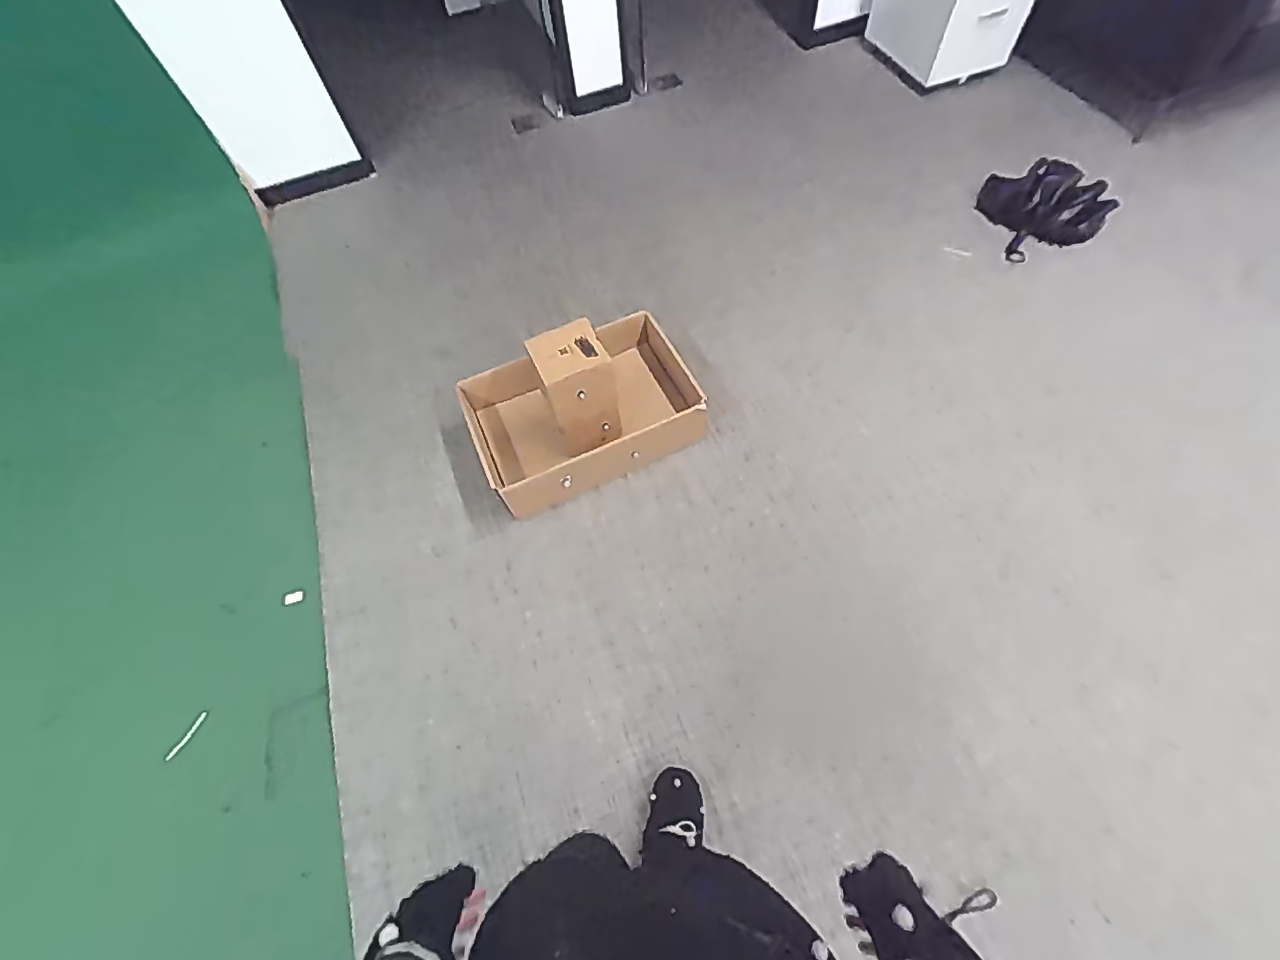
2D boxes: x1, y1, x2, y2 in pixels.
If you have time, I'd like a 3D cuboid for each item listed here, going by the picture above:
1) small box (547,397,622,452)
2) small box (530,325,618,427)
[{"bbox_3d":[-0.160,-0.202,1.554,0.168,0.176,0.179,-24,61,-9],"label":"small box"},{"bbox_3d":[-0.166,-0.270,1.422,0.179,0.176,0.168,-23,61,-8],"label":"small box"}]
